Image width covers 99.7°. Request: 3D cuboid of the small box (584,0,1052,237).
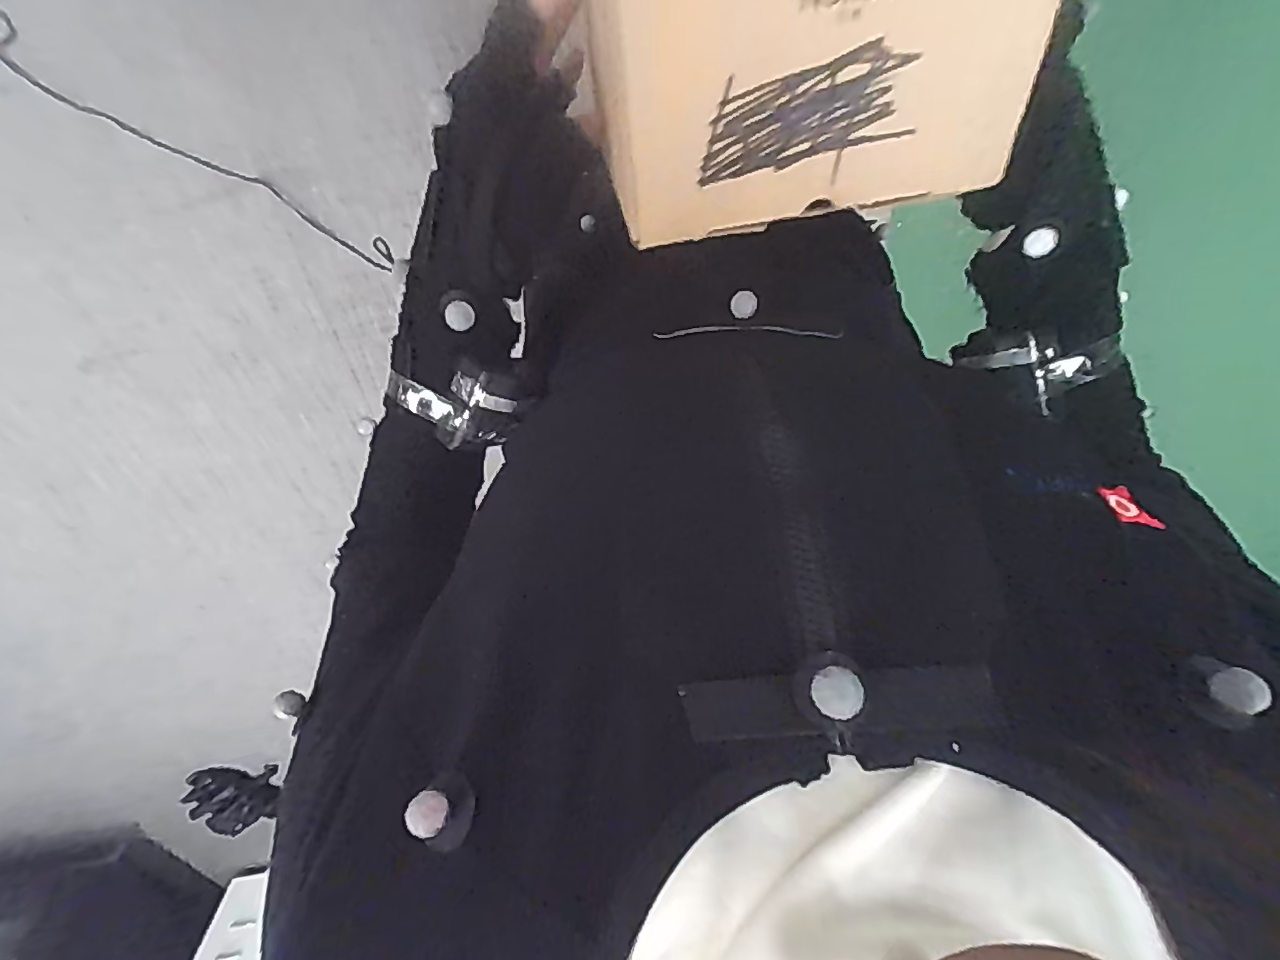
[{"bbox_3d":[0.062,-0.239,0.241,0.168,0.176,0.179,-10,137,-3],"label":"small box"}]
